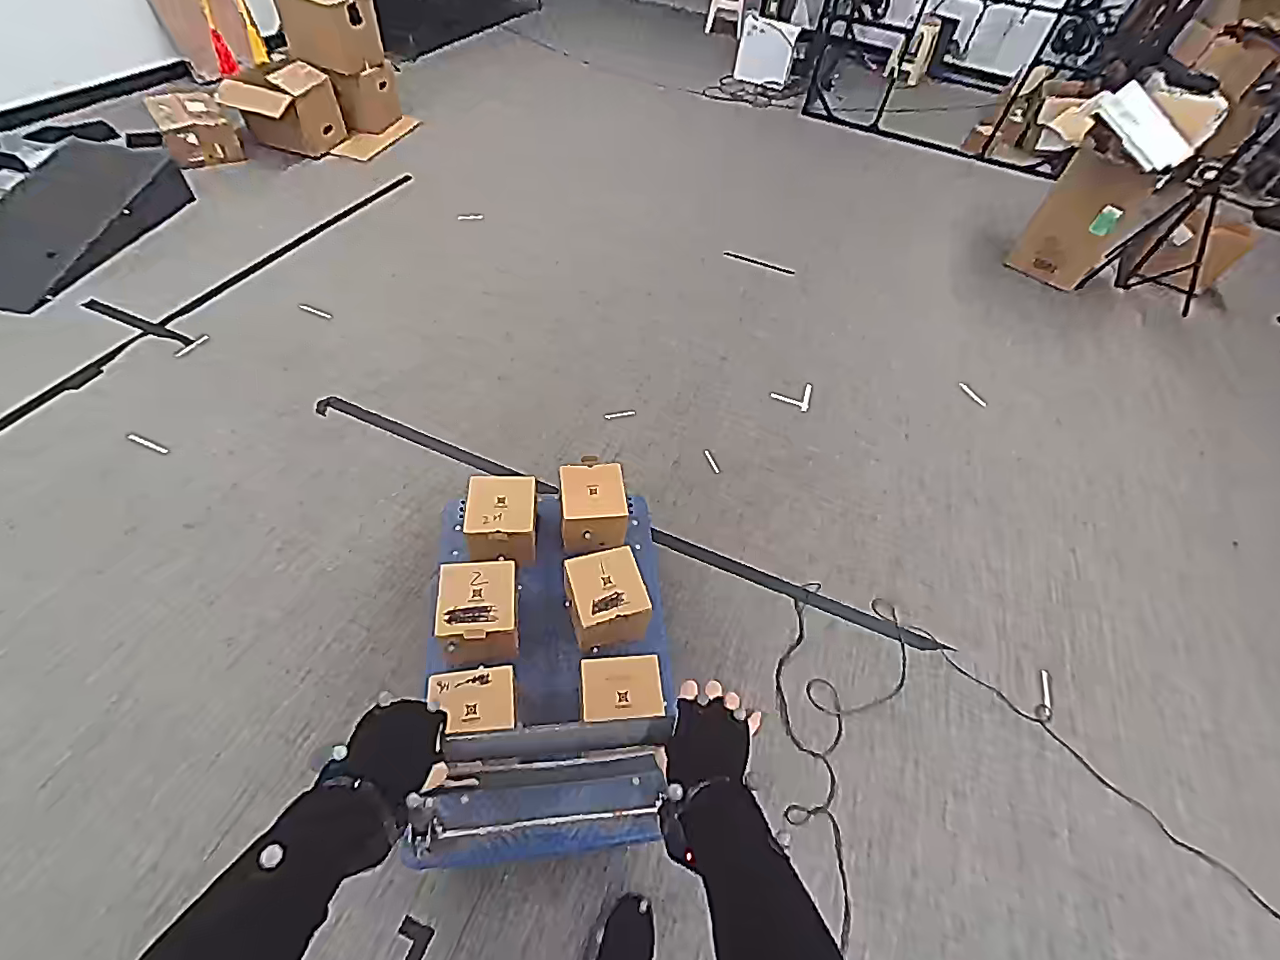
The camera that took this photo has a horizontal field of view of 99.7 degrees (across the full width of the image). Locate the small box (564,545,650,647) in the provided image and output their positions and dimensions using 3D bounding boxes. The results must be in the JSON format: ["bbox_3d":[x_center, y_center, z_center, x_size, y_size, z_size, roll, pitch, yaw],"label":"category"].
[{"bbox_3d":[-0.086,0.289,1.319,0.168,0.176,0.179,-11,54,-17],"label":"small box"}]

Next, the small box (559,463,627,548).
[{"bbox_3d":[-0.133,0.075,1.481,0.168,0.176,0.179,-3,52,-11],"label":"small box"}]

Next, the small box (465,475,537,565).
[{"bbox_3d":[-0.358,0.106,1.419,0.168,0.176,0.179,0,53,-8],"label":"small box"}]

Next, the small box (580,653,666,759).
[{"bbox_3d":[-0.044,0.492,1.165,0.168,0.176,0.179,0,51,-10],"label":"small box"}]

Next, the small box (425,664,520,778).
[{"bbox_3d":[-0.337,0.499,1.112,0.168,0.176,0.179,-3,53,-12],"label":"small box"}]
